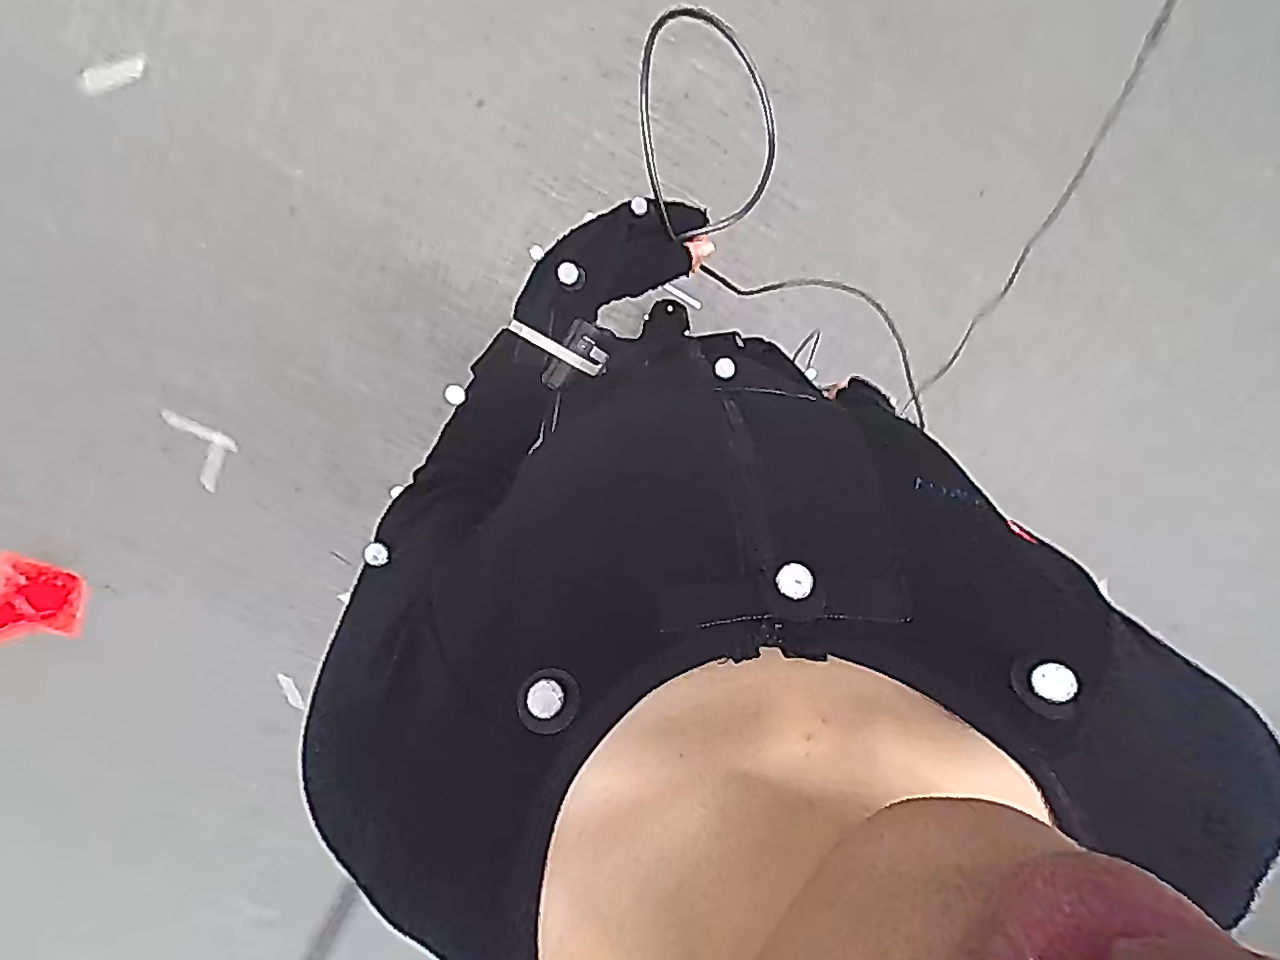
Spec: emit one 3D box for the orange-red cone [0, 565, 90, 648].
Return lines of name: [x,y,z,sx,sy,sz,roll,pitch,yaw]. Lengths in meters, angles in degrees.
orange-red cone: [-1.630,0.396,1.332,0.198,0.360,0.199,22,105,-8]
